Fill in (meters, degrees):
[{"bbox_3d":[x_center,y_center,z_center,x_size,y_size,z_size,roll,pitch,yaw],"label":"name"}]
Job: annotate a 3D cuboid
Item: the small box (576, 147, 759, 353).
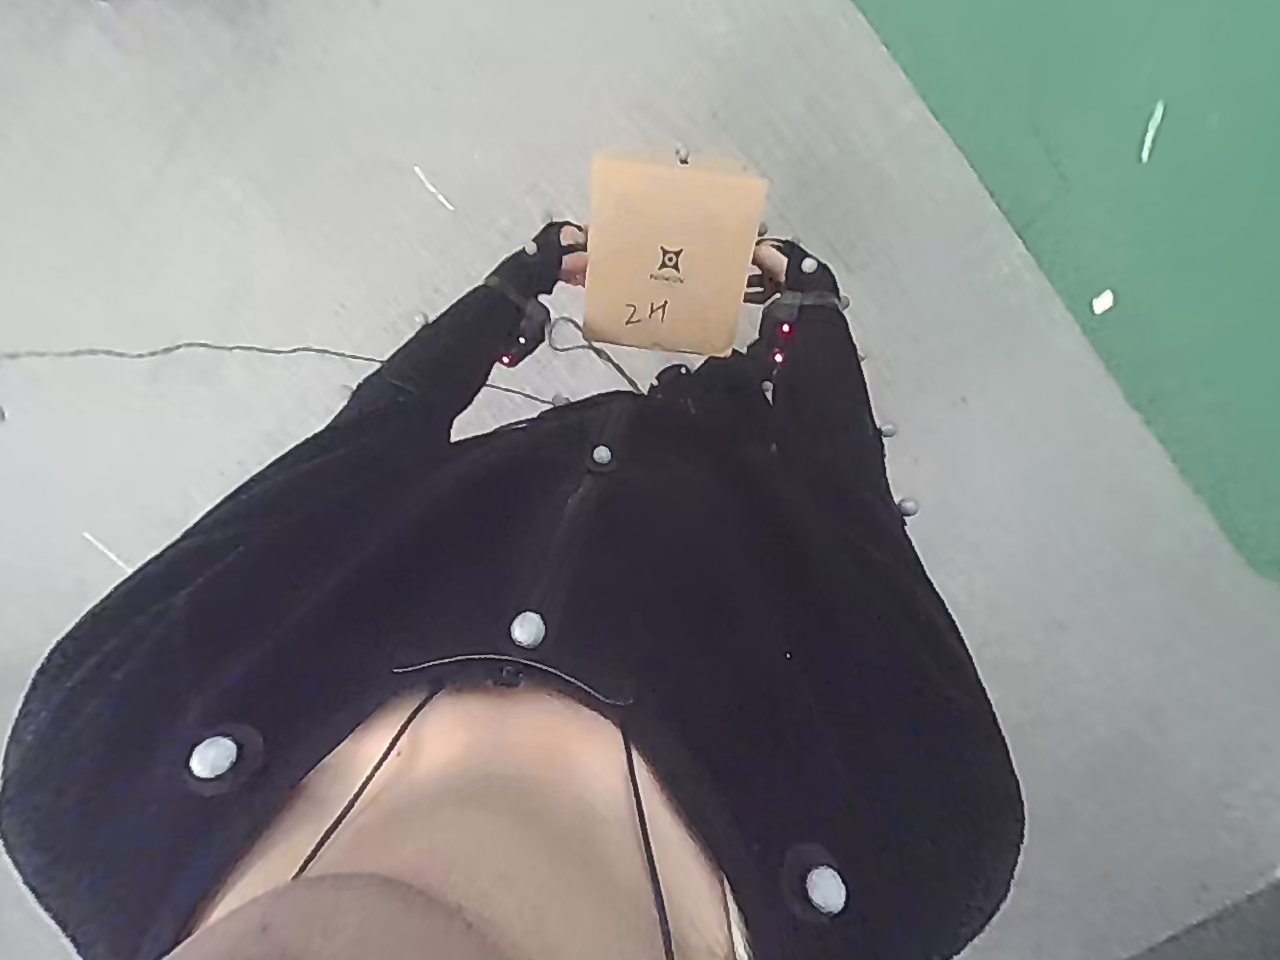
[{"bbox_3d":[0.021,-0.262,0.604,0.168,0.176,0.179,5,124,-3],"label":"small box"}]
